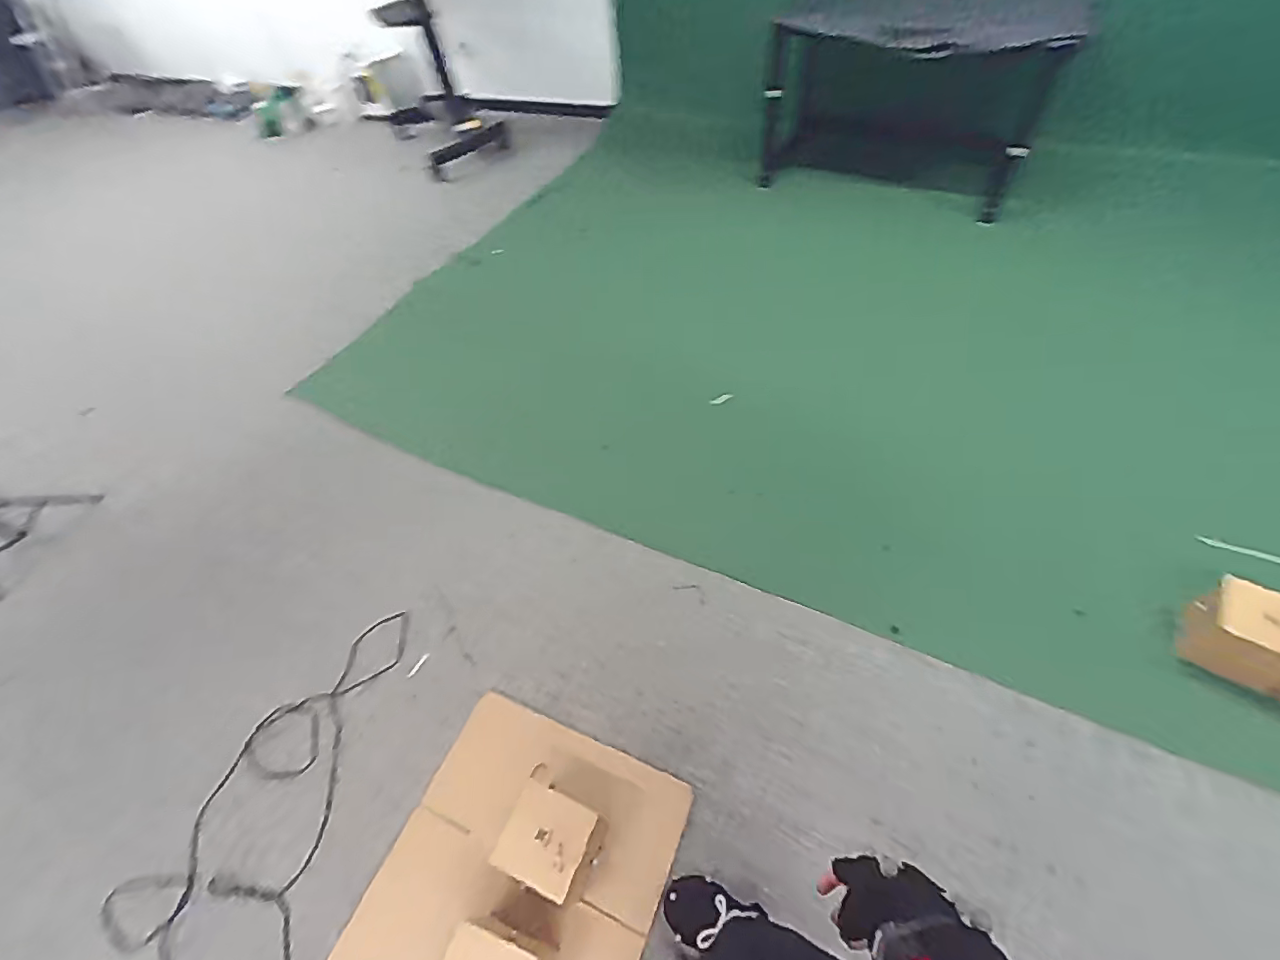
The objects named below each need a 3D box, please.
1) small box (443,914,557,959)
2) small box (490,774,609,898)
[{"bbox_3d":[-0.278,0.961,1.034,0.179,0.176,0.168,12,56,16],"label":"small box"},{"bbox_3d":[-0.186,0.770,1.170,0.179,0.176,0.168,16,58,18],"label":"small box"}]
